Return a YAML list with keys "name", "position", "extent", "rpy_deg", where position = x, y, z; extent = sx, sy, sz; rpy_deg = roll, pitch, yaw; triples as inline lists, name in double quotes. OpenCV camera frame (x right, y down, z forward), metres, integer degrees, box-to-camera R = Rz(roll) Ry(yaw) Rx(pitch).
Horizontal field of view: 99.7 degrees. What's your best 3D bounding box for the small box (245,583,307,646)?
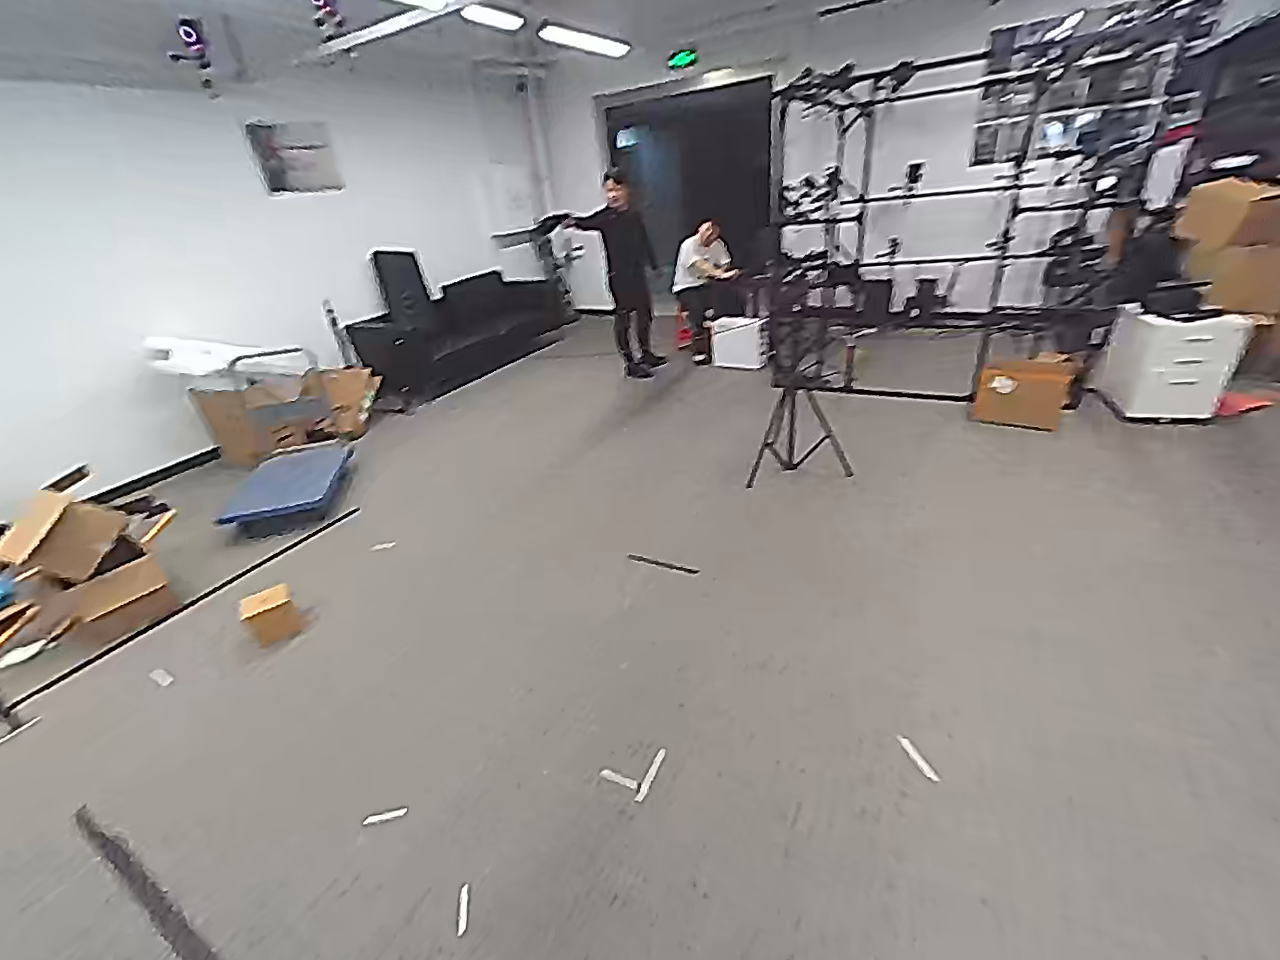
- name: "small box"
  position: [-1.593, 0.590, 2.365]
  extent: [0.179, 0.176, 0.168]
  rpy_deg: [-23, 32, -29]
